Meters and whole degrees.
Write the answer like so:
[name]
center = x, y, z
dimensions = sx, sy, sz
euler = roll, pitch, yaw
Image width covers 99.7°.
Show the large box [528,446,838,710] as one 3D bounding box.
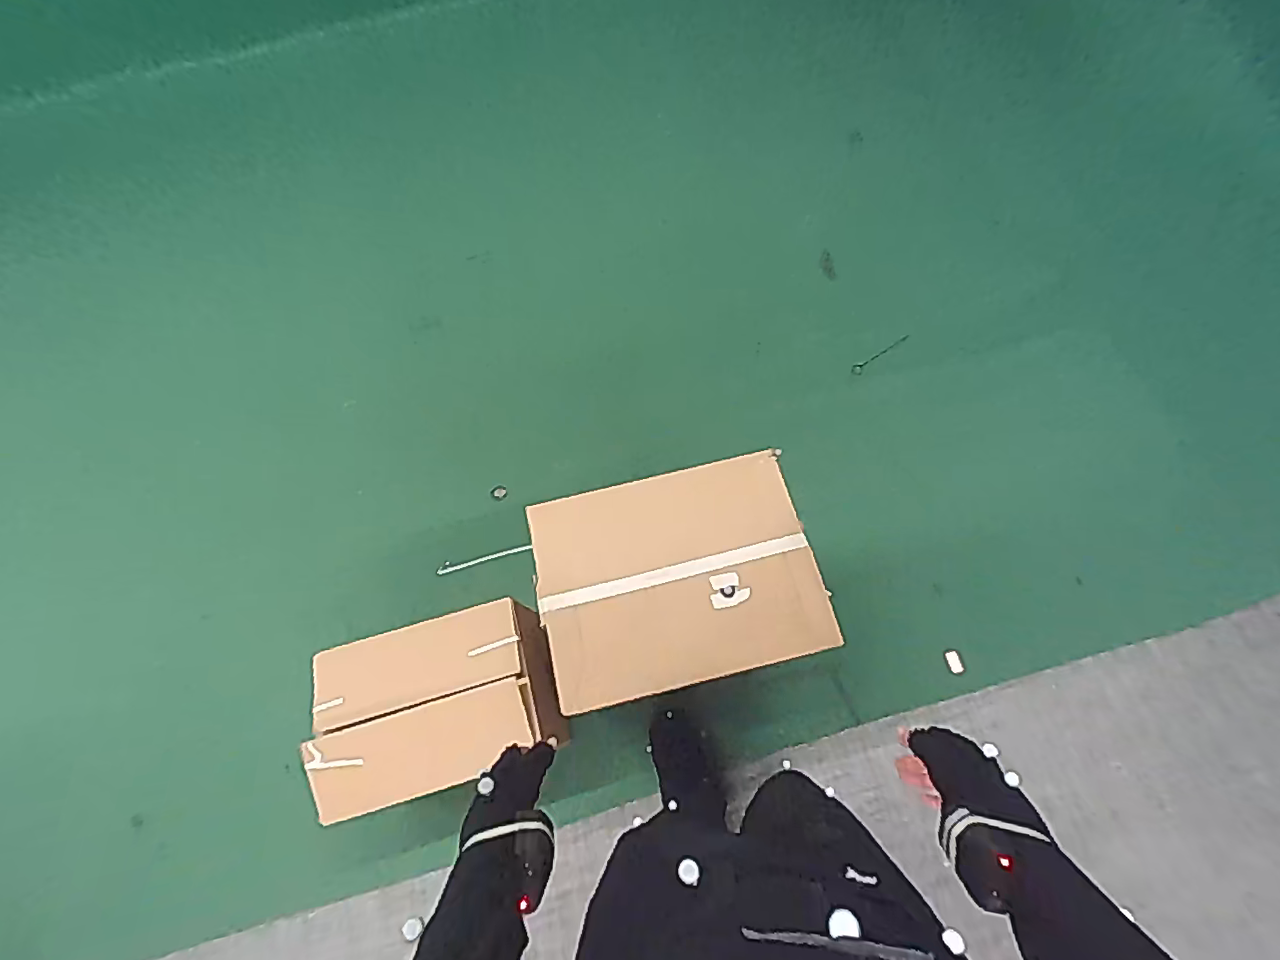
[large box]
center = 0.056, 0.183, 0.939
dimensions = 0.408, 0.320, 0.320
euler = -13, 70, -4
